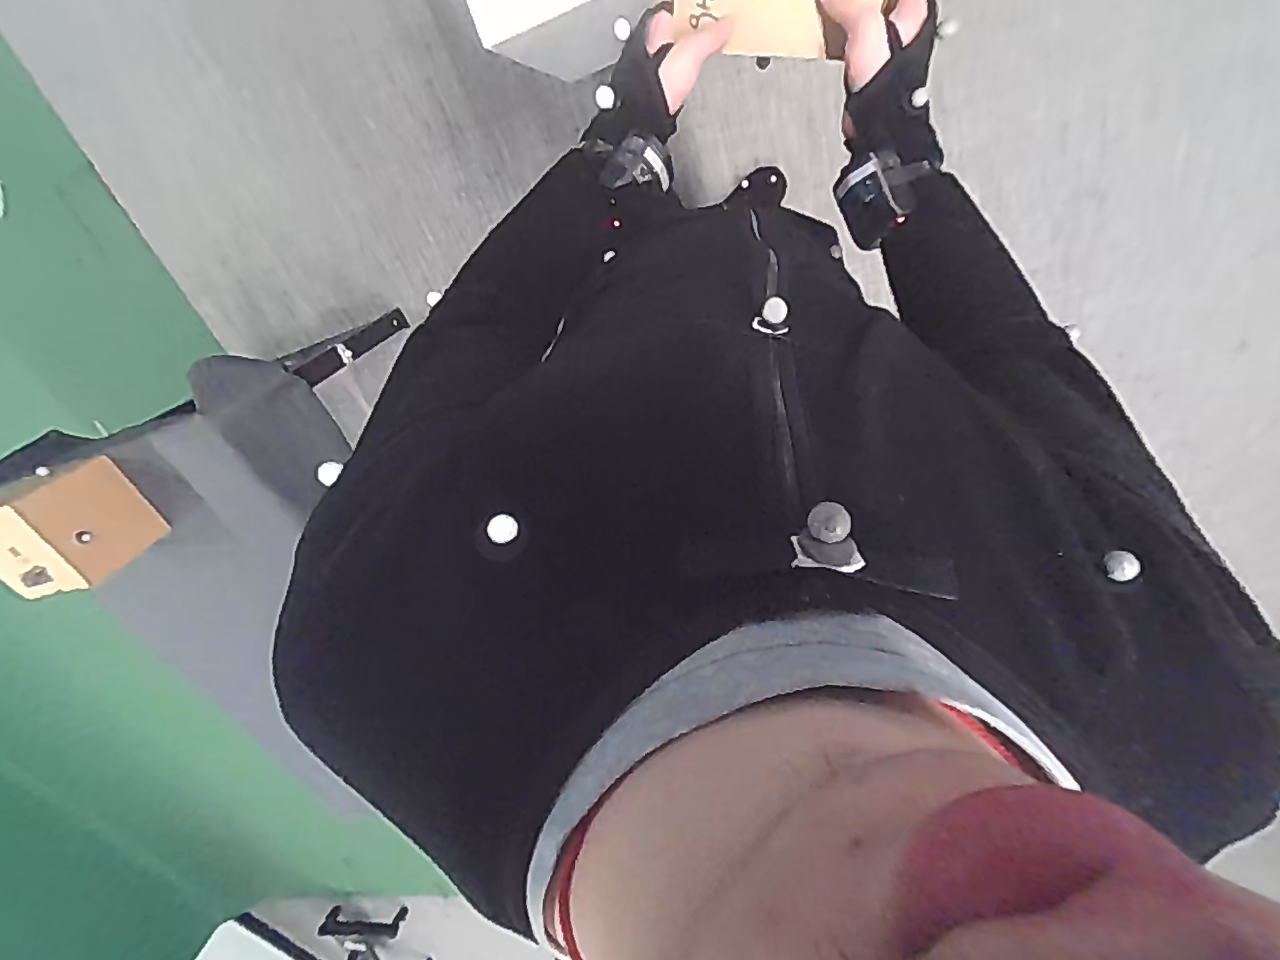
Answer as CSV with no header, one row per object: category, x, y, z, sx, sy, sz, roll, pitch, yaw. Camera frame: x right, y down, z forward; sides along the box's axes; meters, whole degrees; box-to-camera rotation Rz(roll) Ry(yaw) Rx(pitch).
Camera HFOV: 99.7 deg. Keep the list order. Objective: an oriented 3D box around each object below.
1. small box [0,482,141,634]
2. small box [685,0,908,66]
small box,-1.017,0.129,0.907,0.168,0.176,0.179,-13,119,11
small box,0.134,-0.471,0.466,0.179,0.176,0.168,5,130,2
